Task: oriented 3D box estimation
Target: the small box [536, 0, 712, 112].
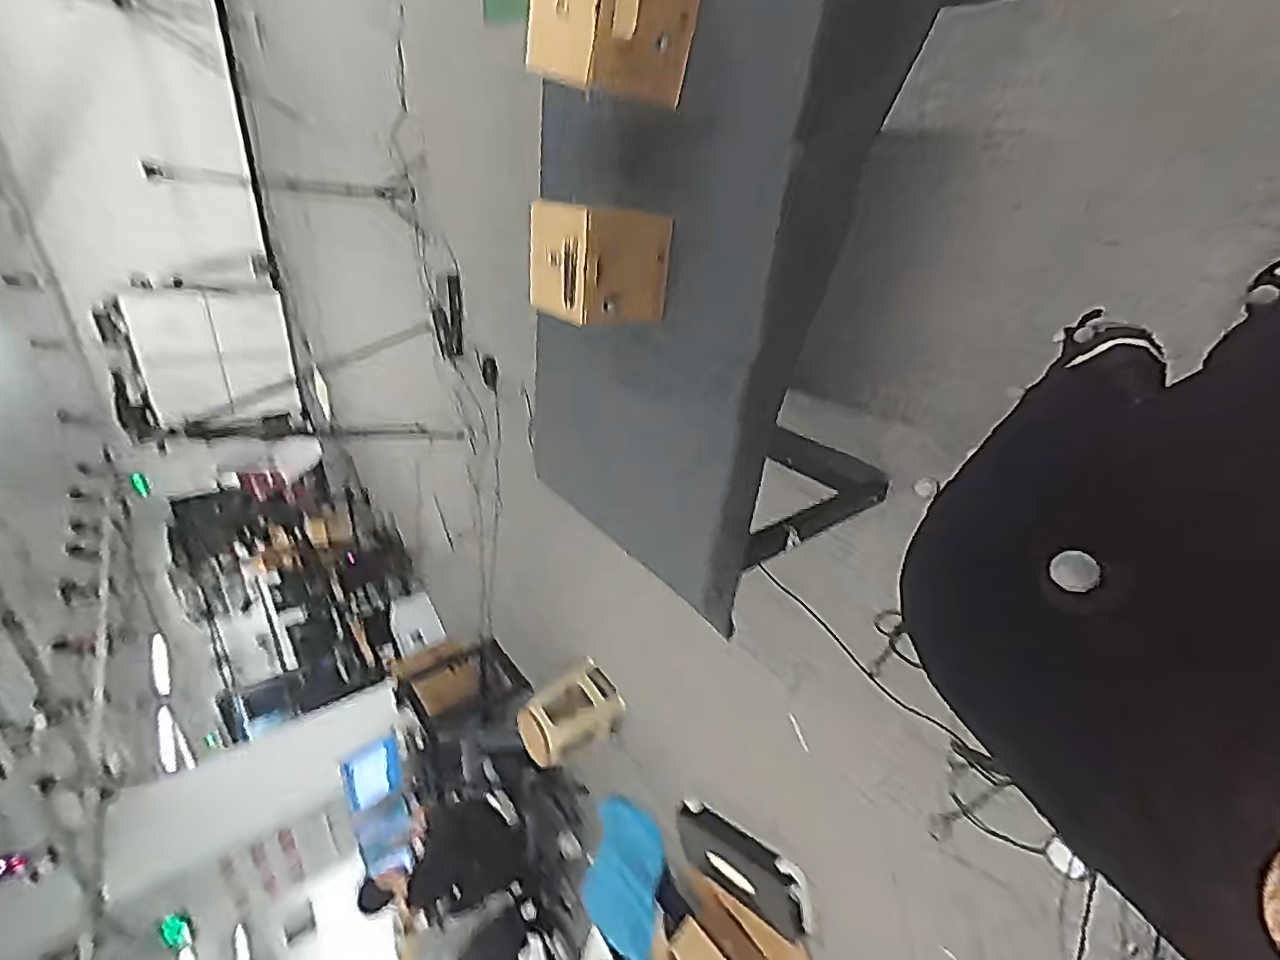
[{"bbox_3d":[-0.028,-0.657,0.786,0.179,0.176,0.168,43,133,34],"label":"small box"}]
